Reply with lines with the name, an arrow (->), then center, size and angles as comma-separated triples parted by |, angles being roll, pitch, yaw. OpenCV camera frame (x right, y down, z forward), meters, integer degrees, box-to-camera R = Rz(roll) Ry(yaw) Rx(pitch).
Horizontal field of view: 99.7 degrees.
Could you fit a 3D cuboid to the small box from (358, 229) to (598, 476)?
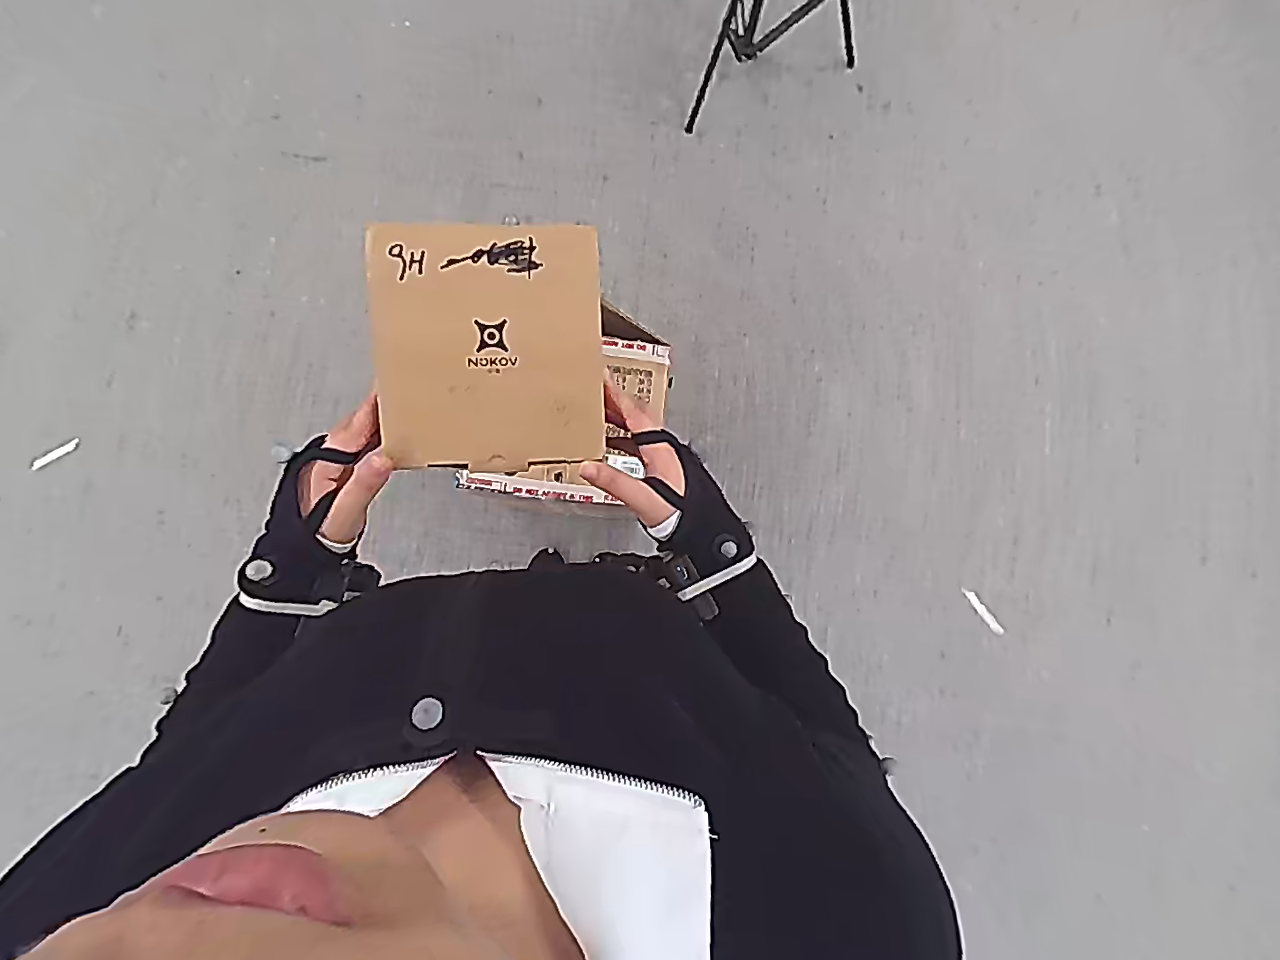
small box -> -0.123, -0.104, 0.475 | 0.168, 0.176, 0.179 | -3, 98, -7
